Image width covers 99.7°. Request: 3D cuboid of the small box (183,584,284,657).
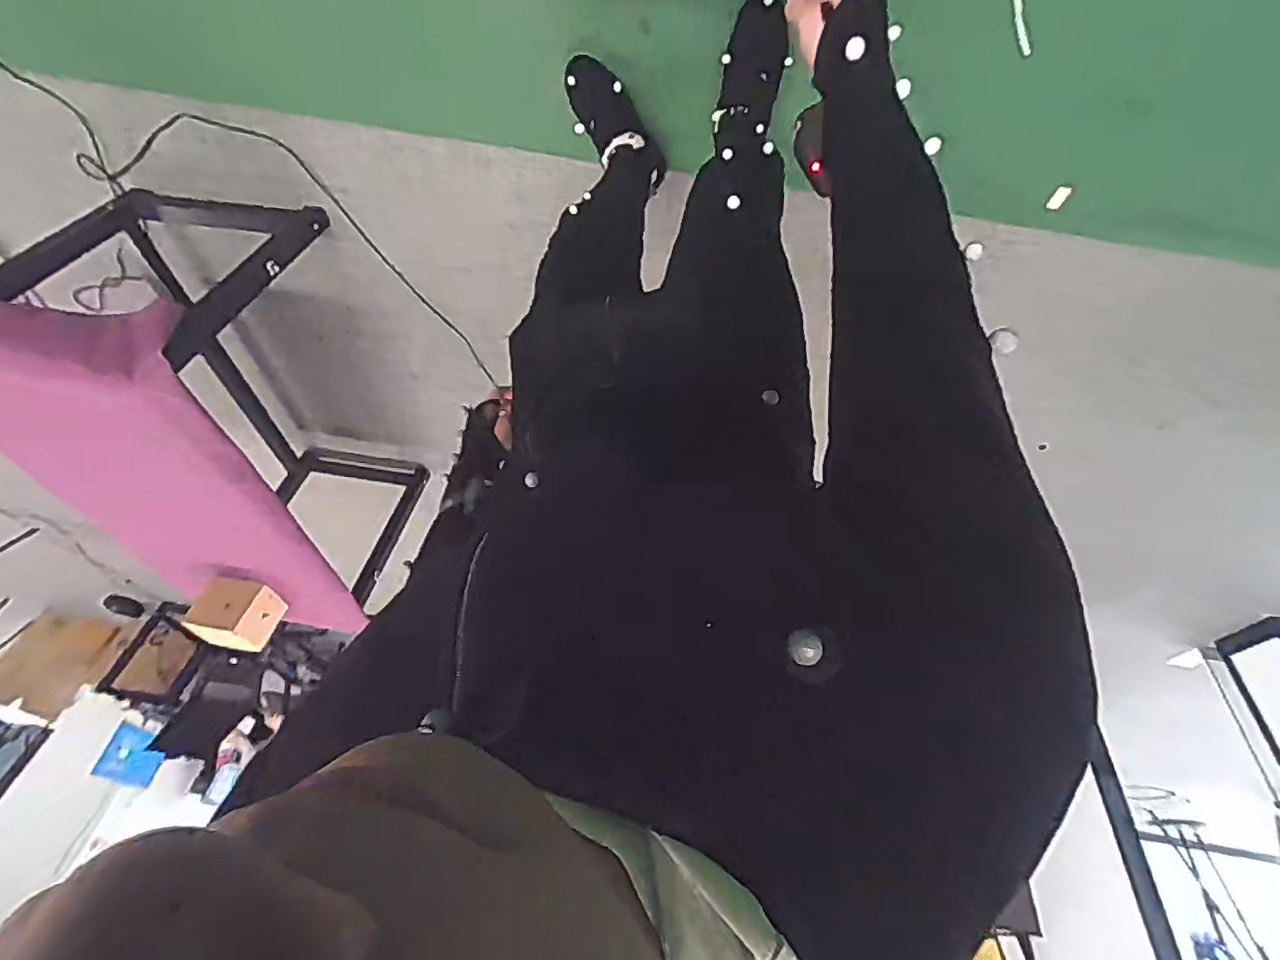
[{"bbox_3d":[-1.292,0.451,1.740,0.179,0.176,0.168,7,140,4],"label":"small box"}]
